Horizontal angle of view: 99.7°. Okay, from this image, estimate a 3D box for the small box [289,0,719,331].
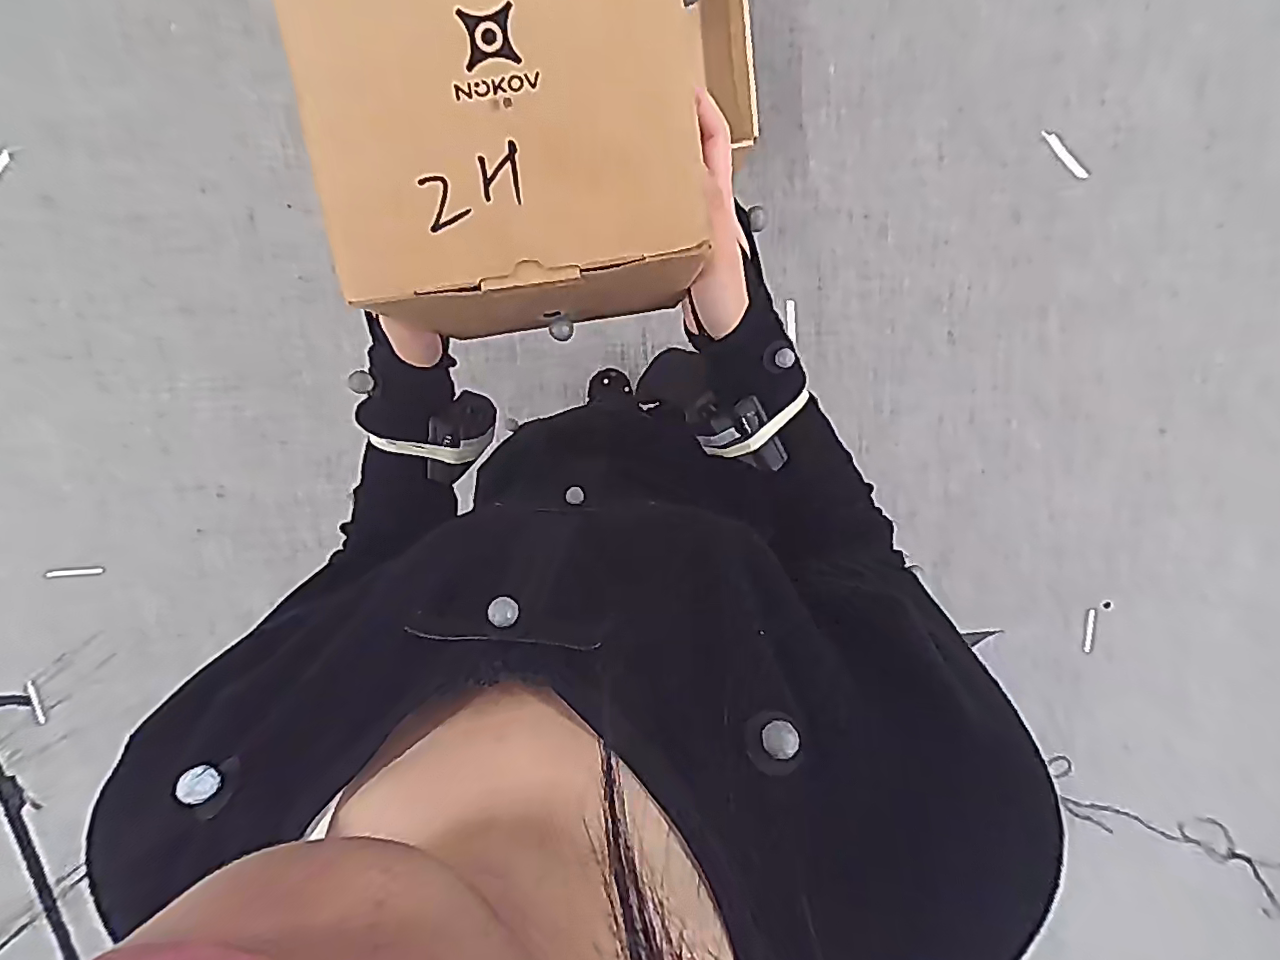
[{"bbox_3d":[-0.060,-0.191,0.301,0.168,0.176,0.179,-9,100,0],"label":"small box"}]
